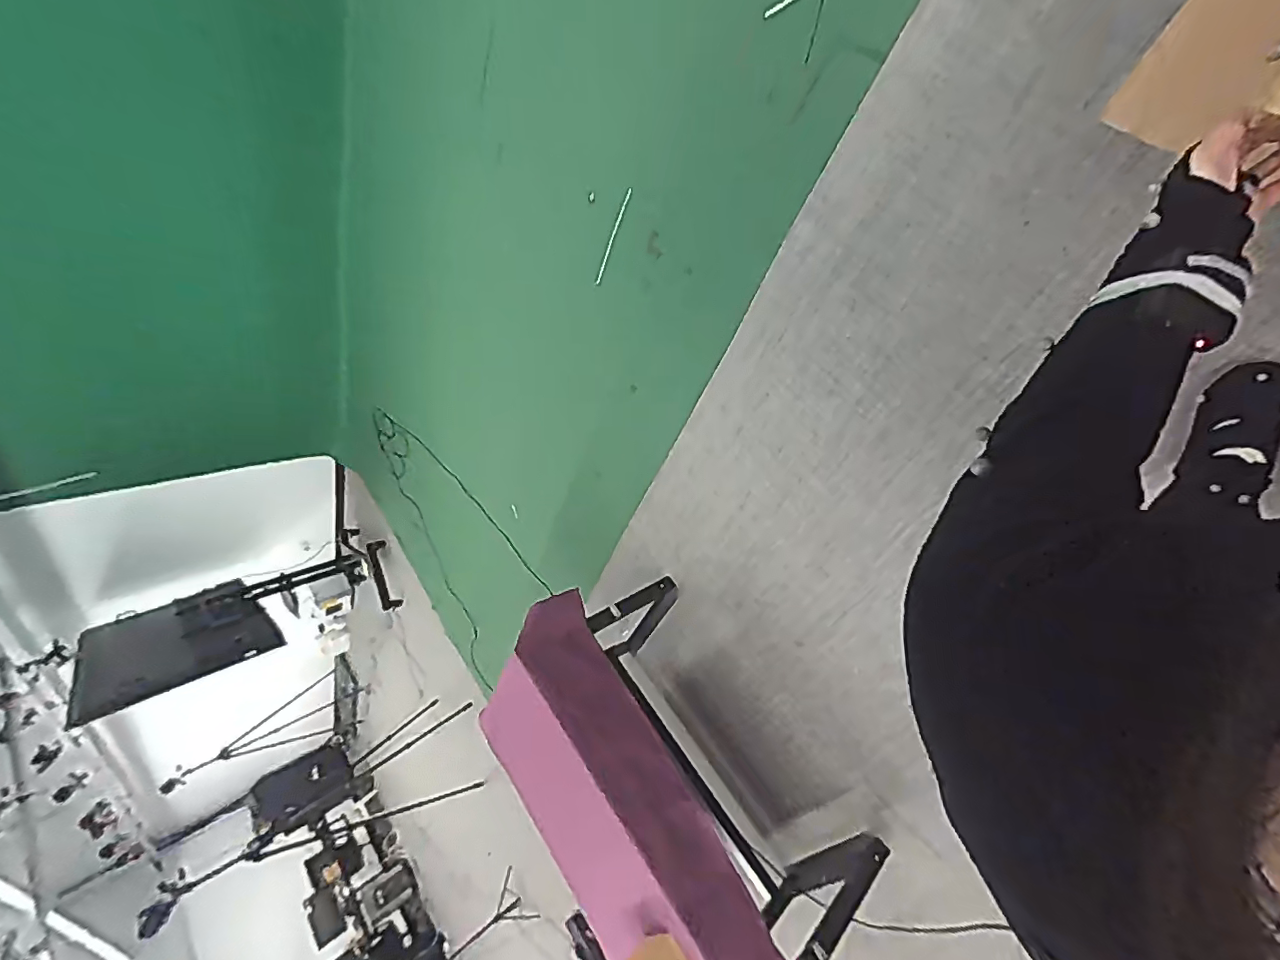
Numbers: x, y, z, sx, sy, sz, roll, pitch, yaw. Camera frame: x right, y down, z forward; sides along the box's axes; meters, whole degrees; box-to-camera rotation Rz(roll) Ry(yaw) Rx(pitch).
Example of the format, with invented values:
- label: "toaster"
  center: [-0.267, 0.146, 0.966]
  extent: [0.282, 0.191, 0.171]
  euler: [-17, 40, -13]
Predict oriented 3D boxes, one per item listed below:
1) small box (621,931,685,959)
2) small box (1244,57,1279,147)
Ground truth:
- label: "small box"
  center: [0.032, 1.327, 1.416]
  extent: [0.168, 0.176, 0.179]
  euler: [53, 136, 21]
- label: "small box"
  center: [0.545, -0.301, 0.337]
  extent: [0.179, 0.176, 0.168]
  euler: [32, 129, 30]
